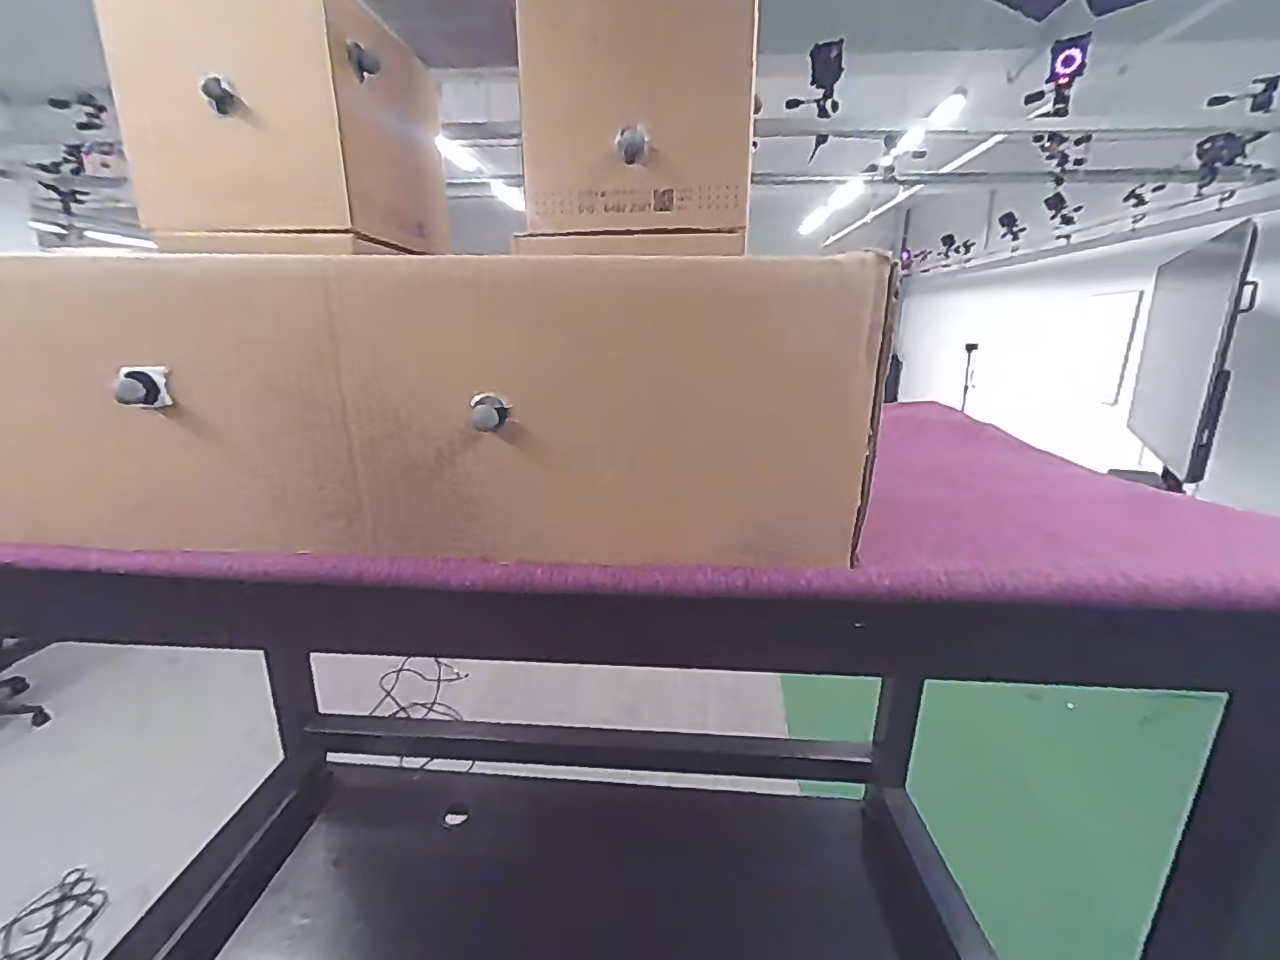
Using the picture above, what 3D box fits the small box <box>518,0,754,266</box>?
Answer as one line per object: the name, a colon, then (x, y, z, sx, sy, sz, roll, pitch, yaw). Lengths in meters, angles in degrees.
small box: (0.004, -0.281, 0.460, 0.168, 0.176, 0.179, 1, 15, 6)
